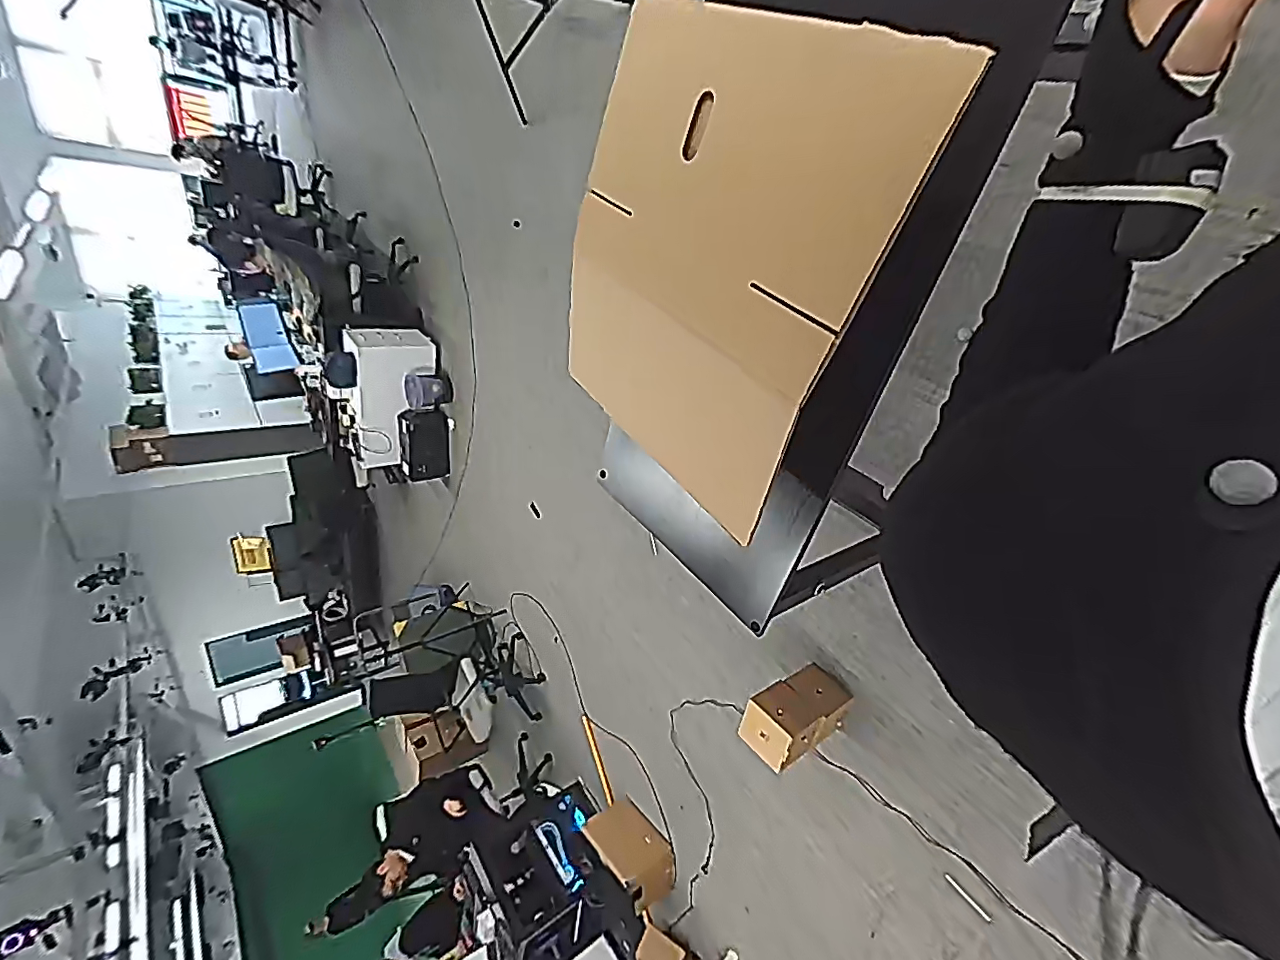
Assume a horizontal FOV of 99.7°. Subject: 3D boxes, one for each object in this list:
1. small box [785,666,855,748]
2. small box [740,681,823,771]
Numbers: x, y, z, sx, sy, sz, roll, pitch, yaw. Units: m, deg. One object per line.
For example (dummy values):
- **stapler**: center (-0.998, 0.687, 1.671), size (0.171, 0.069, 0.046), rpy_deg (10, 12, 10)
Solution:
- **small box**: center (0.589, 0.761, 1.839), size (0.179, 0.176, 0.168), rpy_deg (37, 127, 40)
- **small box**: center (0.459, 0.784, 1.744), size (0.179, 0.176, 0.168), rpy_deg (36, 125, 42)
